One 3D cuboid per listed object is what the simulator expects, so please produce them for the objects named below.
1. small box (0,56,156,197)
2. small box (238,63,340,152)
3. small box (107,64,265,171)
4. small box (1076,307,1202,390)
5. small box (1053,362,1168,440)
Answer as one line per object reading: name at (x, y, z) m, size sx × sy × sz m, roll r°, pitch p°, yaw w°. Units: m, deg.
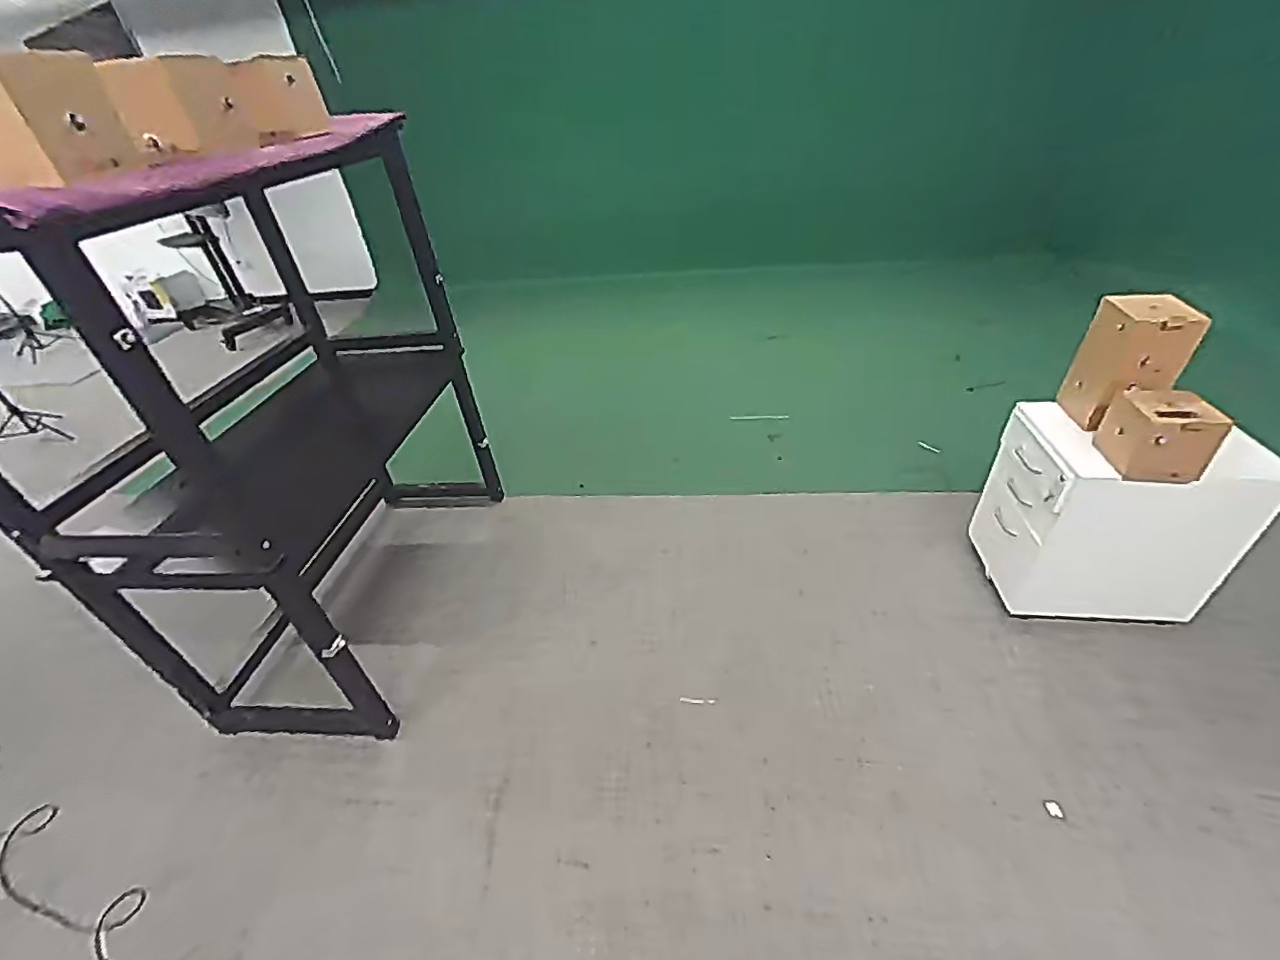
small box at (-0.949, -0.563, 0.864) m, size 0.179 × 0.176 × 0.168 m, roll -1°, pitch 35°, yaw 6°
small box at (-0.923, -0.961, 1.402) m, size 0.168 × 0.176 × 0.179 m, roll -2°, pitch 37°, yaw 9°
small box at (-0.929, -0.751, 1.124) m, size 0.168 × 0.176 × 0.179 m, roll -2°, pitch 37°, yaw 6°
small box at (1.352, -0.363, 1.484) m, size 0.168 × 0.176 × 0.179 m, roll 2°, pitch 39°, yaw 9°
small box at (1.363, -0.233, 1.582) m, size 0.168 × 0.176 × 0.179 m, roll 0°, pitch 37°, yaw 8°
